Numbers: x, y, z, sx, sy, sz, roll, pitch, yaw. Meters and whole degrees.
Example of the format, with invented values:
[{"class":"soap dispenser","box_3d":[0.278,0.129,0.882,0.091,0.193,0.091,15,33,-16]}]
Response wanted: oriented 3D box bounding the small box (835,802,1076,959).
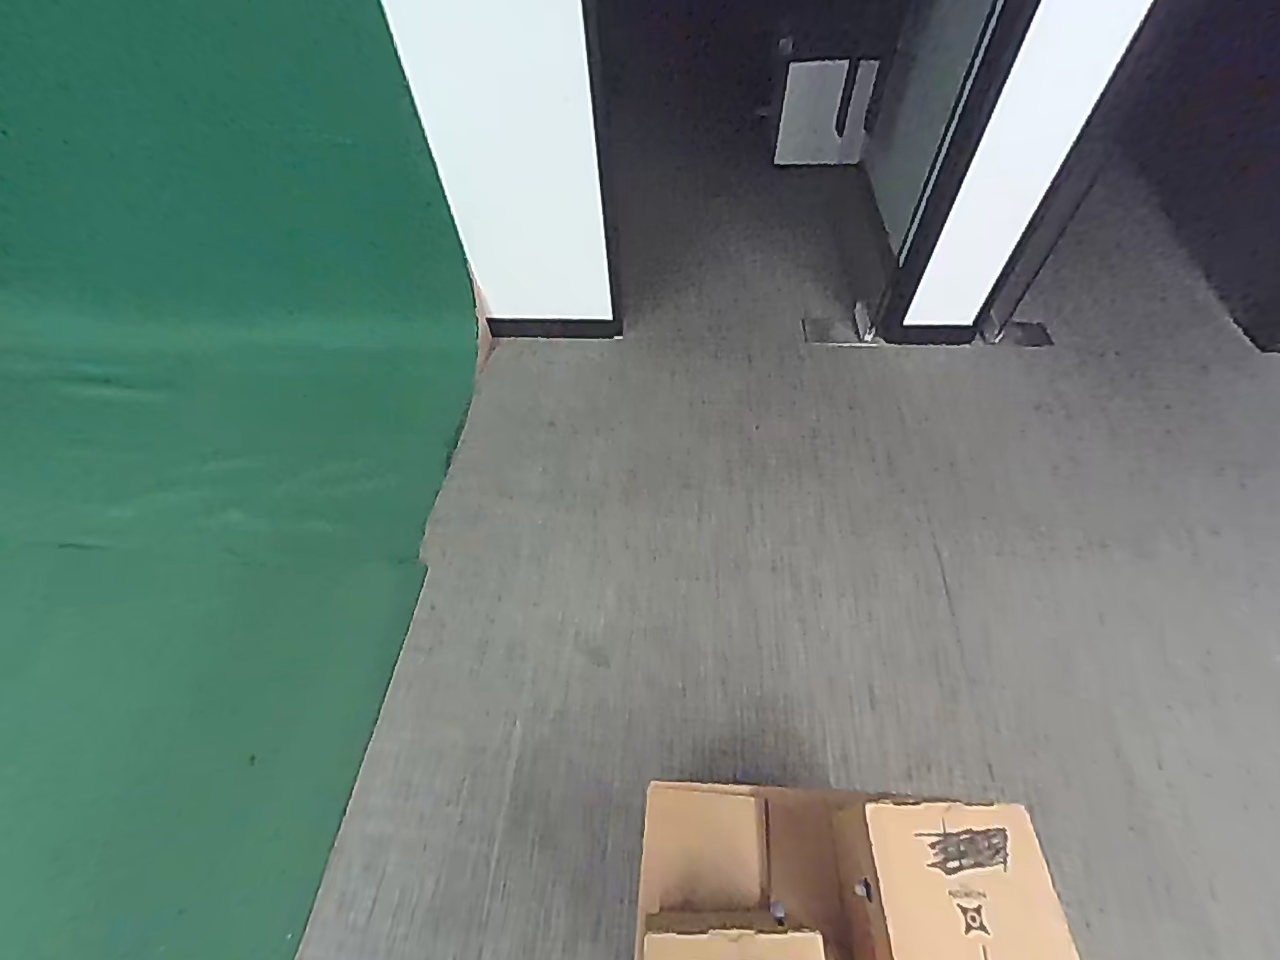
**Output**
[{"class":"small box","box_3d":[0.324,0.459,0.587,0.168,0.176,0.179,-3,55,4]}]
